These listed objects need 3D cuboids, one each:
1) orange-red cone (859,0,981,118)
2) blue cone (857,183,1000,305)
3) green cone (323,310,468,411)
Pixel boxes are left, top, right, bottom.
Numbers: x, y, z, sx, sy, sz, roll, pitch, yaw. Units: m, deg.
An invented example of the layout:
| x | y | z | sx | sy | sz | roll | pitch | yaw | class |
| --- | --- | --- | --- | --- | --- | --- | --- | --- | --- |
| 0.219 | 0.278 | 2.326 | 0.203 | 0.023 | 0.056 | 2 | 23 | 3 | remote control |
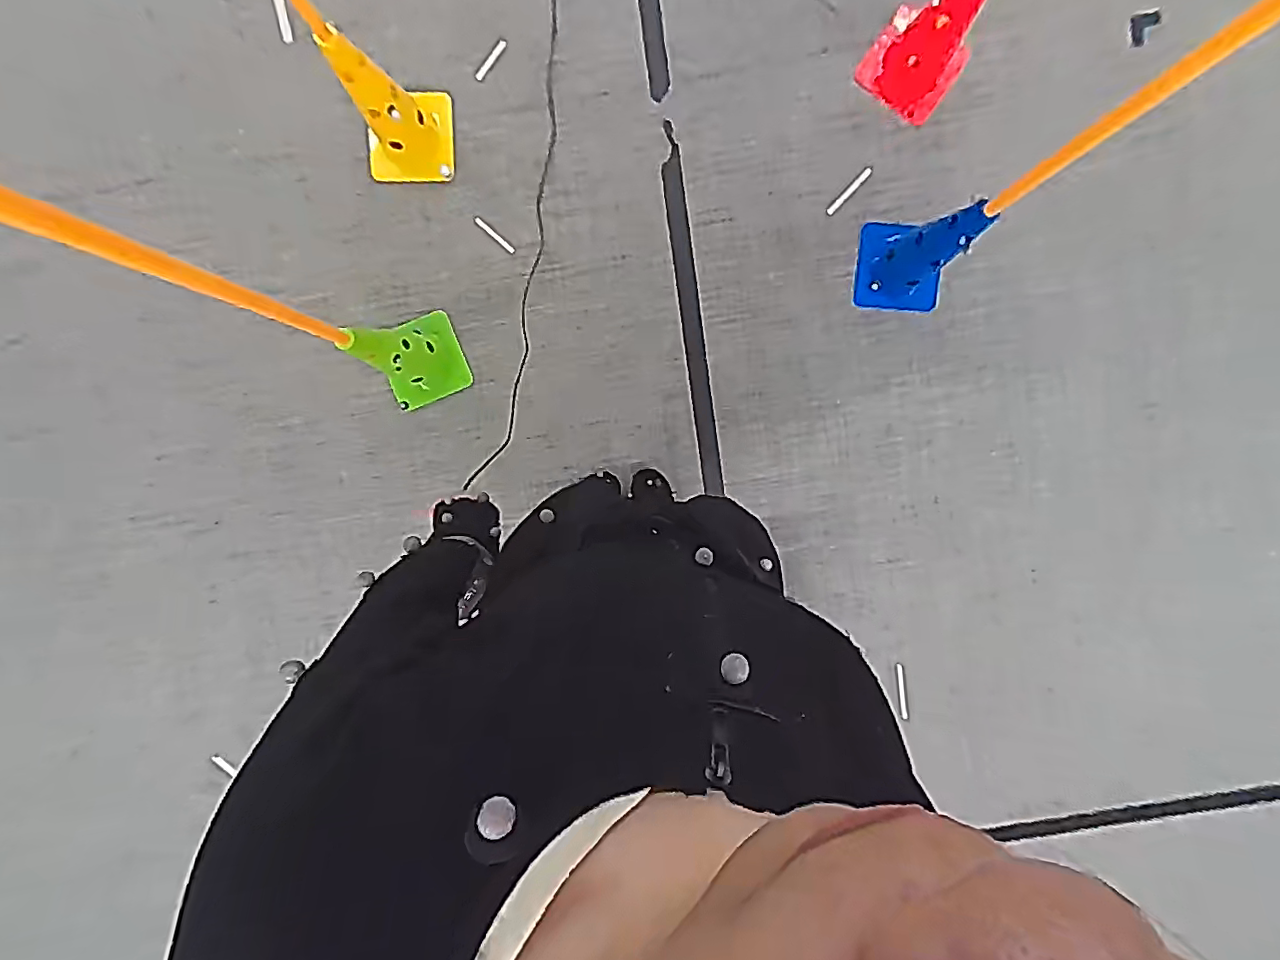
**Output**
| x | y | z | sx | sy | sz | roll | pitch | yaw | class |
| --- | --- | --- | --- | --- | --- | --- | --- | --- | --- |
| 0.625 | -0.946 | 1.074 | 0.198 | 0.360 | 0.199 | 36 | 96 | -2 | orange-red cone |
| 0.616 | -0.506 | 1.130 | 0.193 | 0.380 | 0.192 | 6 | 95 | 0 | blue cone |
| -0.543 | -0.278 | 1.152 | 0.200 | 0.368 | 0.202 | -23 | 93 | 3 | green cone |
